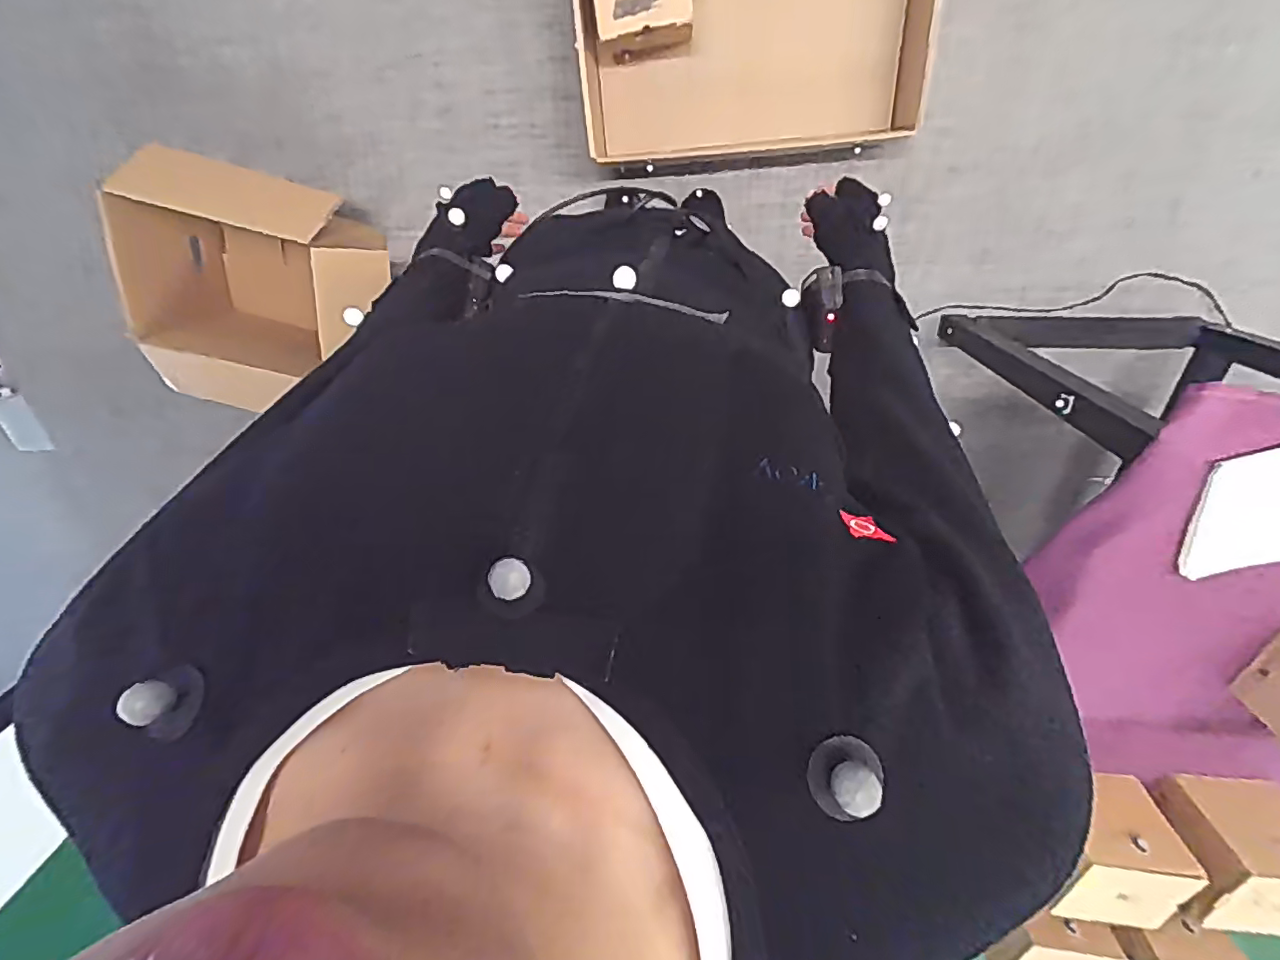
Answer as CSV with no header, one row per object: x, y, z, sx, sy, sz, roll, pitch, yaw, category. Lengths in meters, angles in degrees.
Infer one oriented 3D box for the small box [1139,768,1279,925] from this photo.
1.016,0.629,0.938,0.179,0.176,0.168,3,120,4,small box

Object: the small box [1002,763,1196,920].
0.793,0.635,0.963,0.179,0.176,0.168,5,120,3,small box

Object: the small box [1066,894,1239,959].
1.015,0.900,1.094,0.179,0.176,0.168,7,120,1,small box
